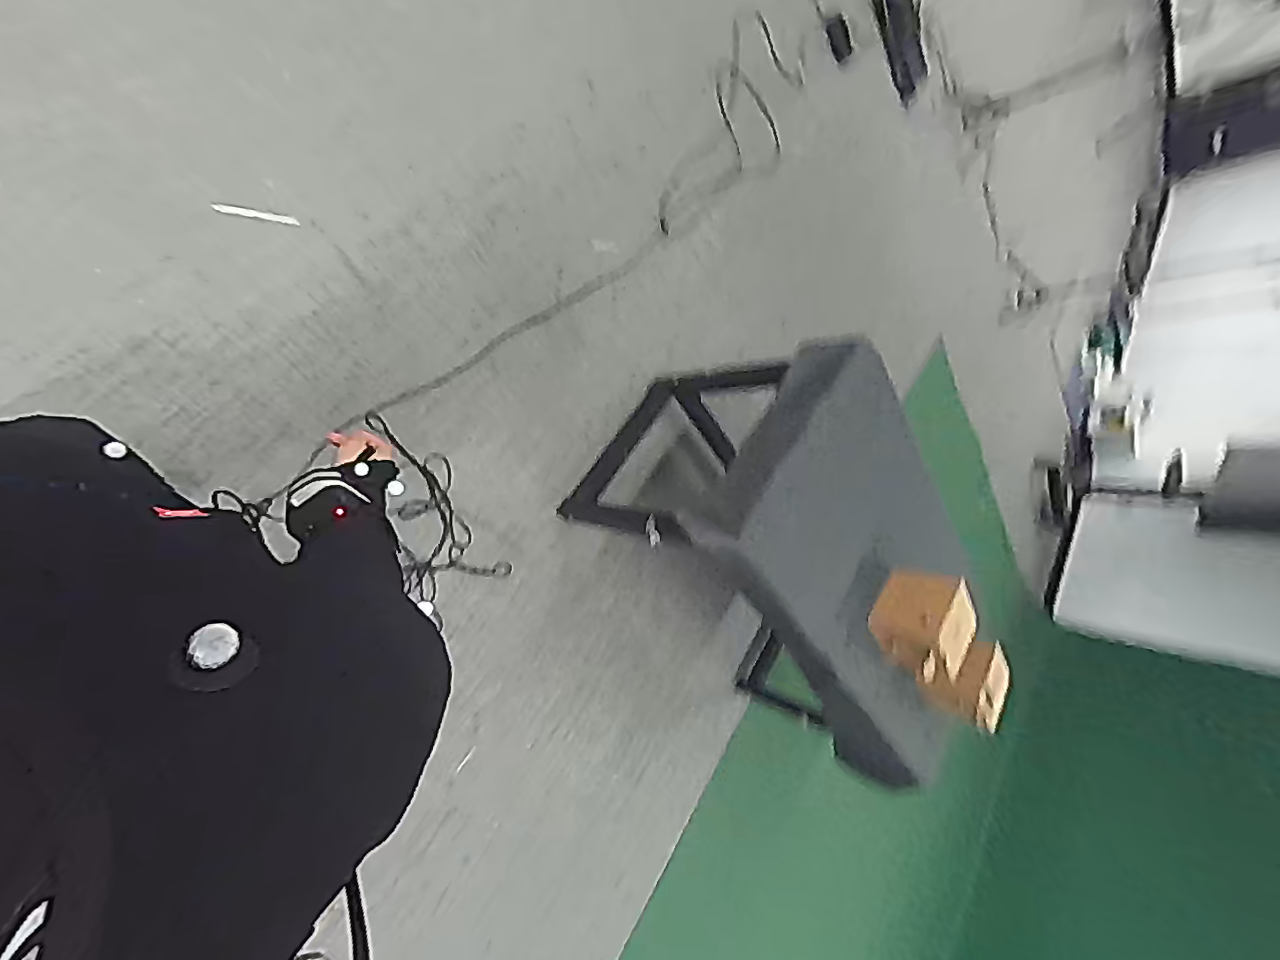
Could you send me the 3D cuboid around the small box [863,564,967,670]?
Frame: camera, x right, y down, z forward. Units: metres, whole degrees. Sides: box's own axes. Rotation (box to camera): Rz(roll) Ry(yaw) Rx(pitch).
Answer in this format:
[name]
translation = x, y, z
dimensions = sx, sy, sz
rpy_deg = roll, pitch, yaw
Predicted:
[small box]
translation = 0.688, 0.334, 1.354
dimensions = 0.179, 0.176, 0.168
rpy_deg = -49, 122, -26
